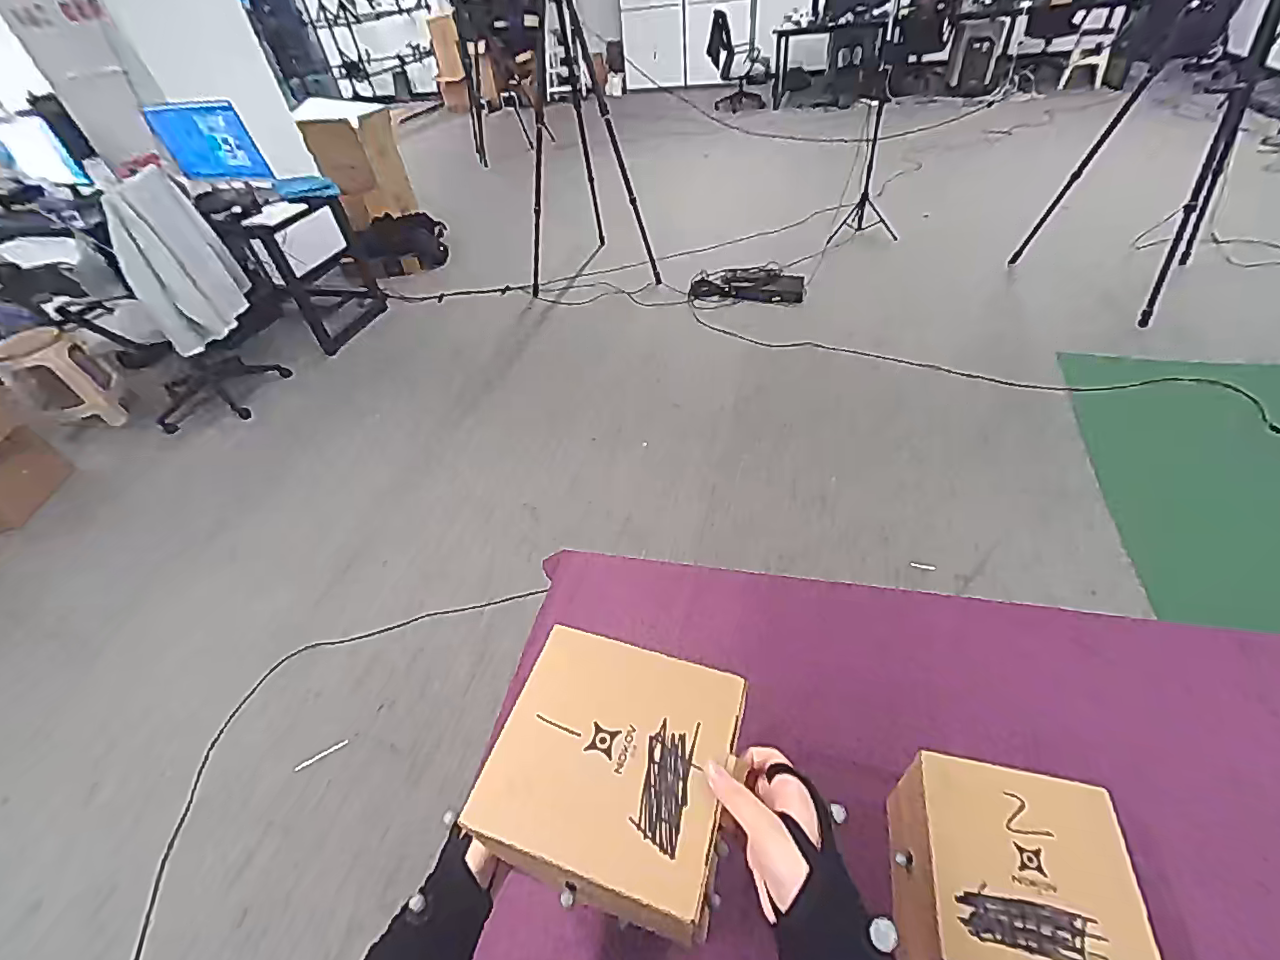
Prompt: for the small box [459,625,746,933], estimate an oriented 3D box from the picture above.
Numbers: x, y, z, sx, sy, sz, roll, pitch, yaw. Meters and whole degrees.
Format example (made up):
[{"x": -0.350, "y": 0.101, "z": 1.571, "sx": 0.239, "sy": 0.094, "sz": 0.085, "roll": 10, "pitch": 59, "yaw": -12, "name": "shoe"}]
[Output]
[{"x": -0.017, "y": 0.258, "z": 0.468, "sx": 0.179, "sy": 0.176, "sz": 0.168, "roll": 12, "pitch": 48, "yaw": 16, "name": "small box"}]
